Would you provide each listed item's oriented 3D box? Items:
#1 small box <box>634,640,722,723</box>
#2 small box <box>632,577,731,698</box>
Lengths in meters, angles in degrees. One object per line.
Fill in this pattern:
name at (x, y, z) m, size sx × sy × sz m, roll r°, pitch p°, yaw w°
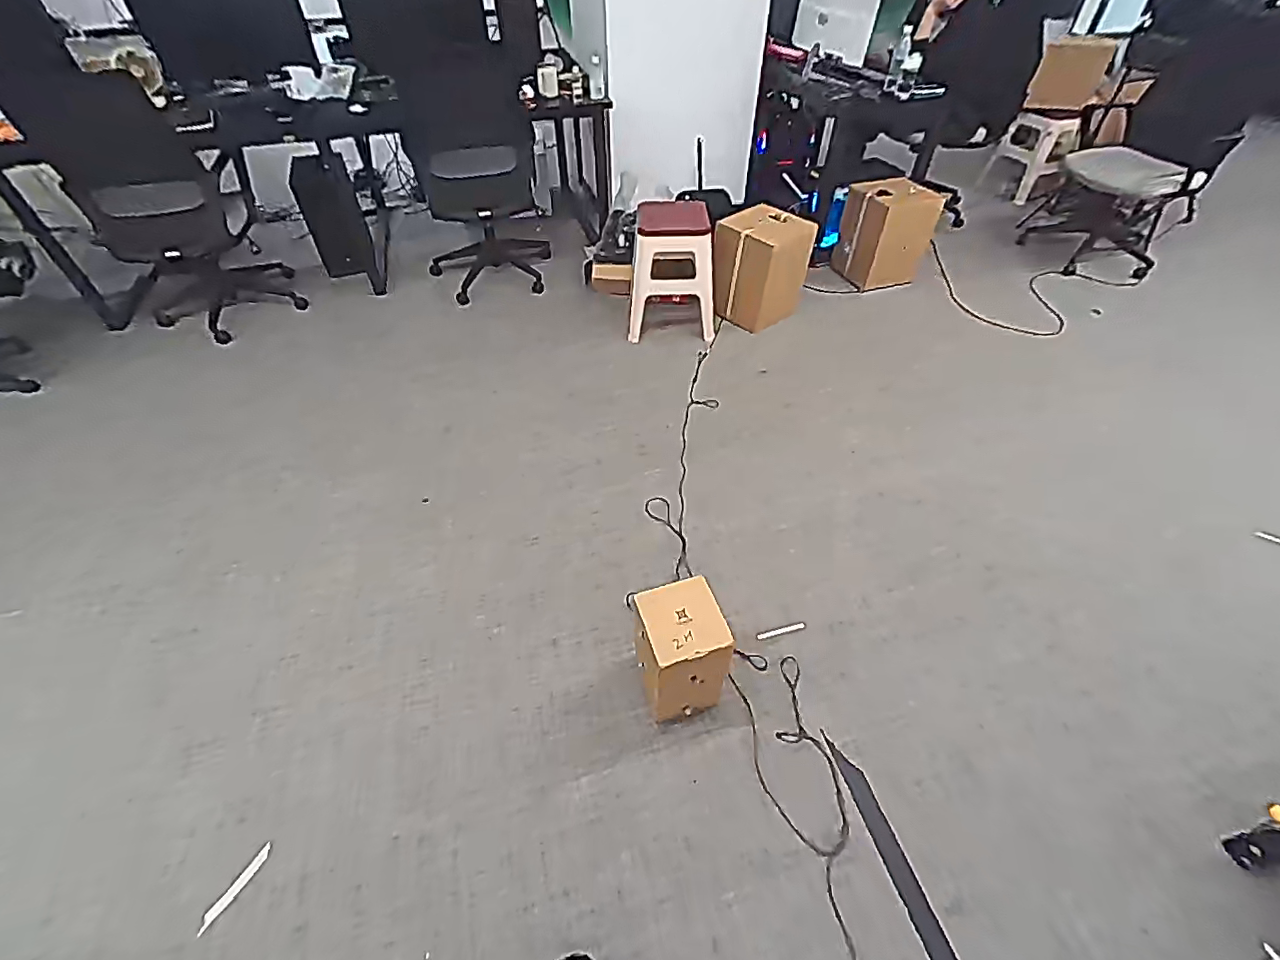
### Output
small box at (0.083, 0.459, 1.316) m, size 0.168 × 0.176 × 0.179 m, roll -13°, pitch 49°, yaw -11°
small box at (0.083, 0.348, 1.194) m, size 0.168 × 0.176 × 0.179 m, roll -14°, pitch 49°, yaw -12°
